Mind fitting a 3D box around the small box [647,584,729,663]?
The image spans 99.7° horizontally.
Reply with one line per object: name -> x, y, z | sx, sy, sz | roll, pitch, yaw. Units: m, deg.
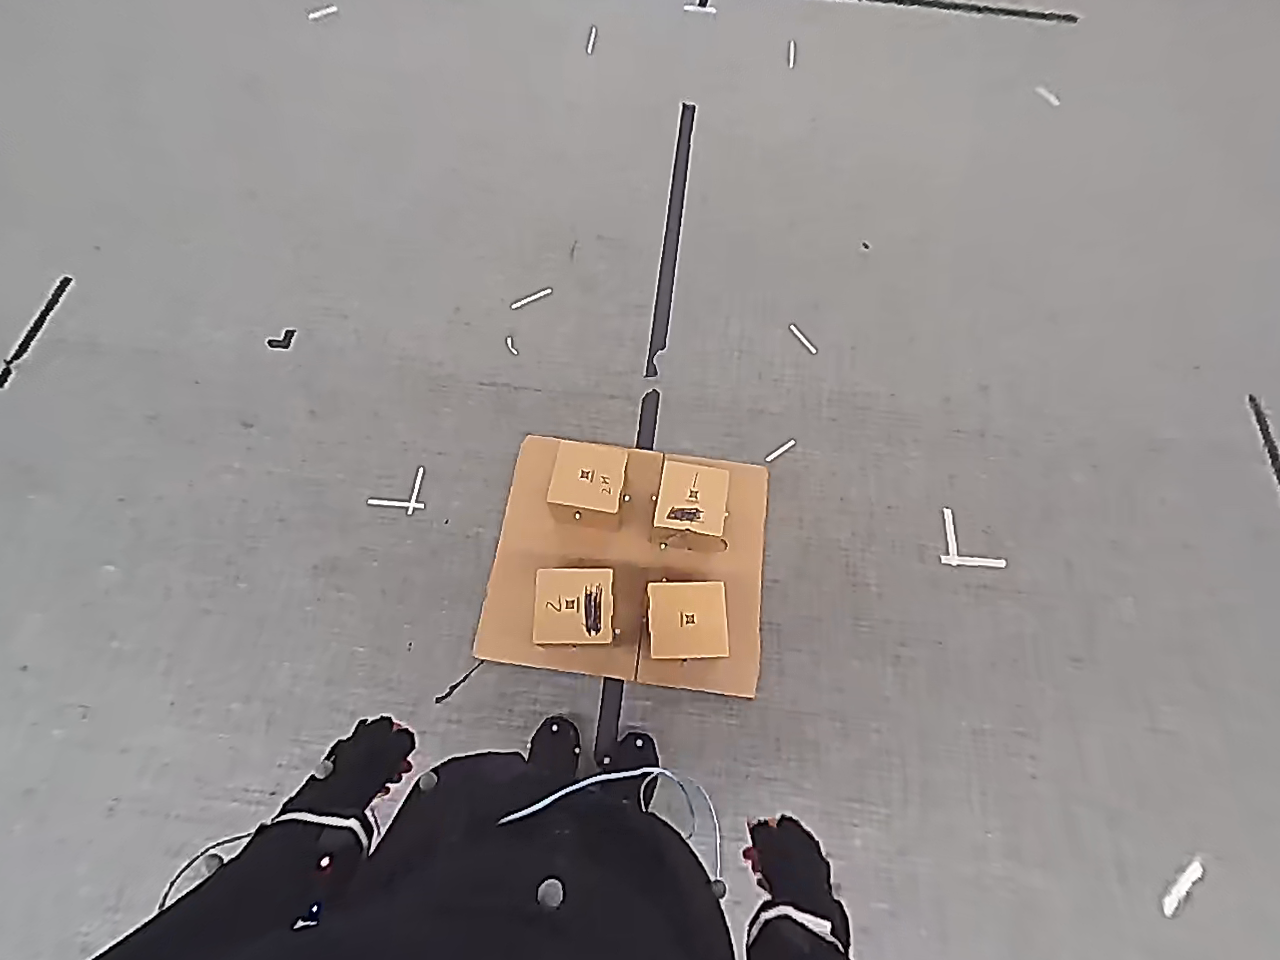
small box -> 0.107, 0.343, 1.285 | 0.179, 0.176, 0.168 | -1, 68, -1
